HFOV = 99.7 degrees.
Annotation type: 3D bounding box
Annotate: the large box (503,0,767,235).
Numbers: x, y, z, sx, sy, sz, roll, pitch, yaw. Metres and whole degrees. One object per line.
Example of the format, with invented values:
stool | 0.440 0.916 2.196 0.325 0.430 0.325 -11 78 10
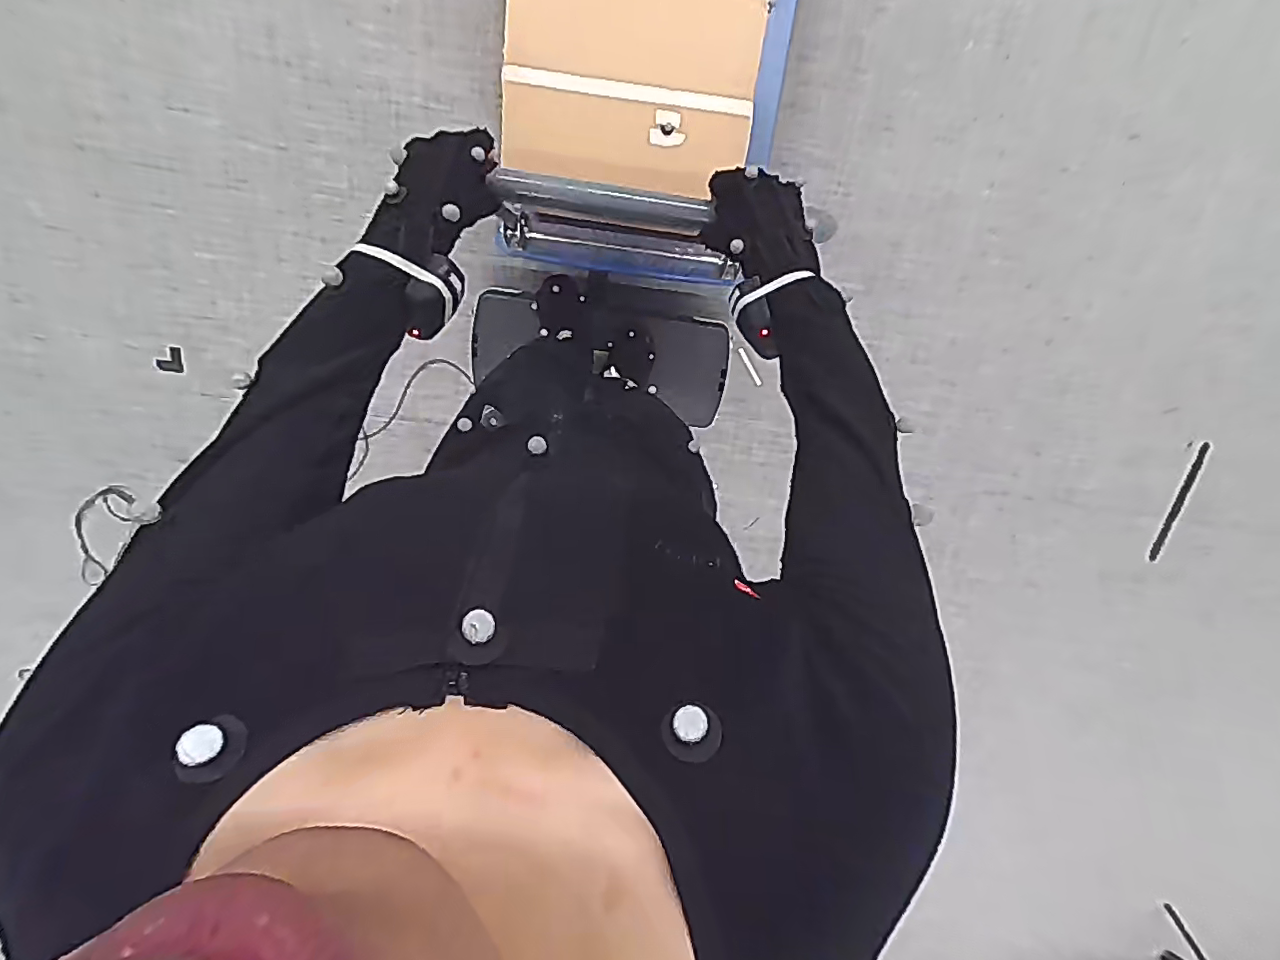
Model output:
large box | -0.023 -0.661 1.006 0.408 0.320 0.320 6 109 -4
